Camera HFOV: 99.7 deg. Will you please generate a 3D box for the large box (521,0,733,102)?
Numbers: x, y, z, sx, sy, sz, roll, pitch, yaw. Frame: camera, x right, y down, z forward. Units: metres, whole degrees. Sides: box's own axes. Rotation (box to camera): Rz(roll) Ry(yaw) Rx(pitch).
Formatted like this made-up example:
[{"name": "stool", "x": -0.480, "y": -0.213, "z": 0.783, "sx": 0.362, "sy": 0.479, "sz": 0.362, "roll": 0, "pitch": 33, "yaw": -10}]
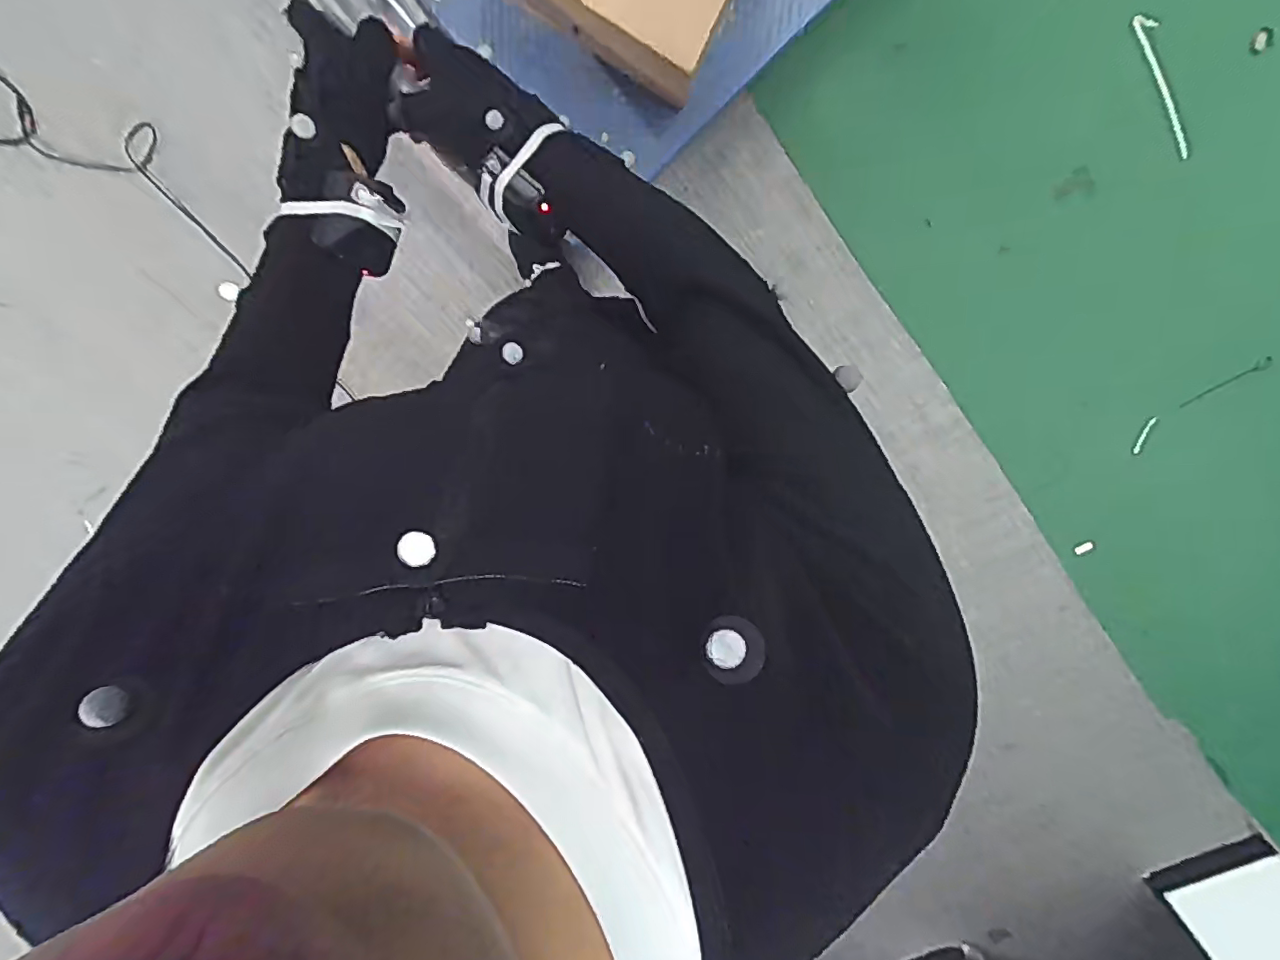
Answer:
[{"name": "large box", "x": -0.030, "y": -0.840, "z": 0.789, "sx": 0.408, "sy": 0.320, "sz": 0.320, "roll": 28, "pitch": 114, "yaw": -11}]
